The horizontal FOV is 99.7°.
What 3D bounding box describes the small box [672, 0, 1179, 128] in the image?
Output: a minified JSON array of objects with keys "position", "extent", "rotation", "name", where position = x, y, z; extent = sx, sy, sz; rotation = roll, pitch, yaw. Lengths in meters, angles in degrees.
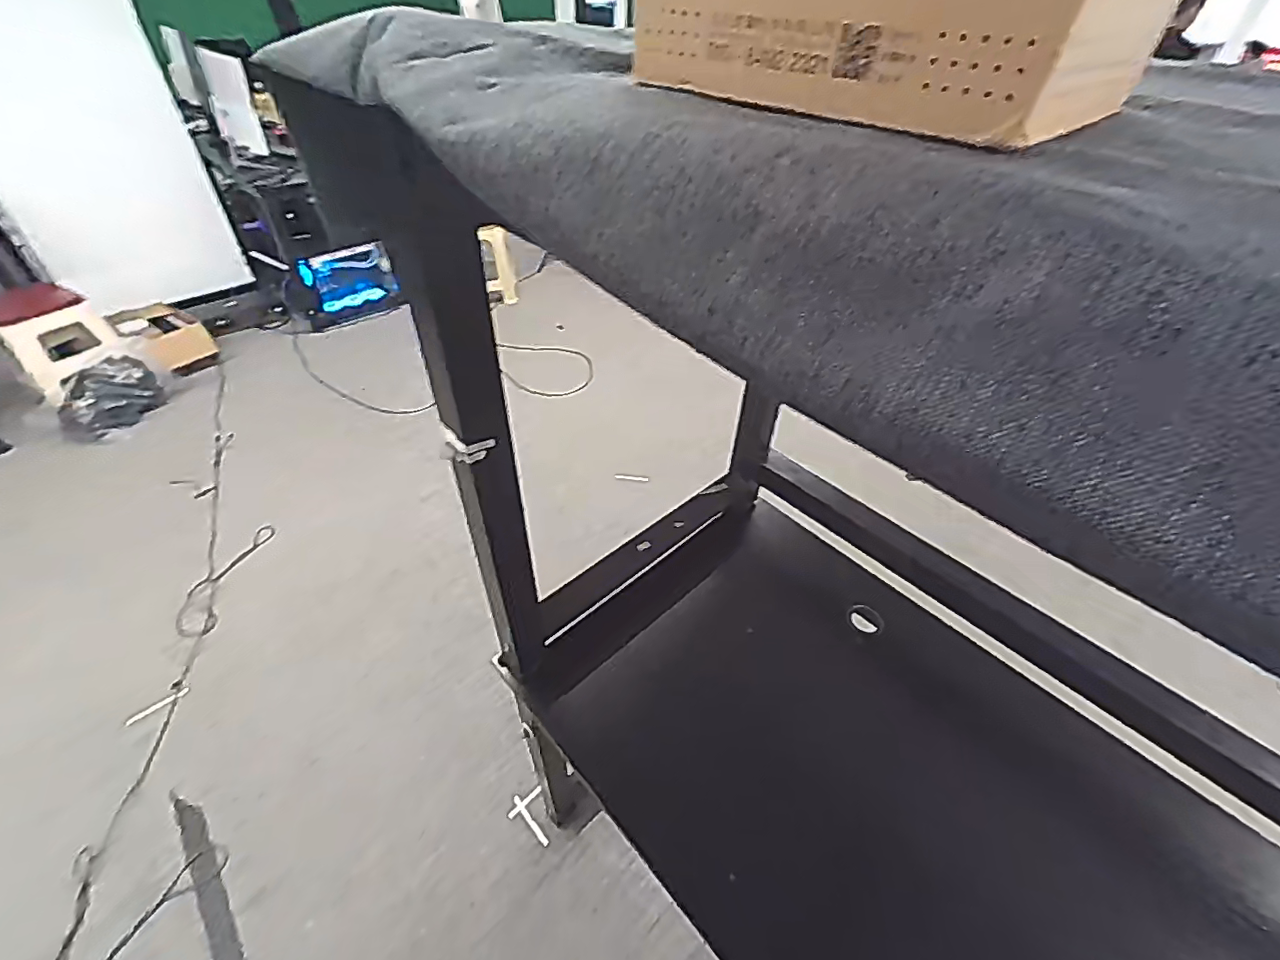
[{"position":[0.123,-0.242,0.196],"extent":[0.168,0.176,0.179],"rotation":[34,50,28],"name":"small box"}]
